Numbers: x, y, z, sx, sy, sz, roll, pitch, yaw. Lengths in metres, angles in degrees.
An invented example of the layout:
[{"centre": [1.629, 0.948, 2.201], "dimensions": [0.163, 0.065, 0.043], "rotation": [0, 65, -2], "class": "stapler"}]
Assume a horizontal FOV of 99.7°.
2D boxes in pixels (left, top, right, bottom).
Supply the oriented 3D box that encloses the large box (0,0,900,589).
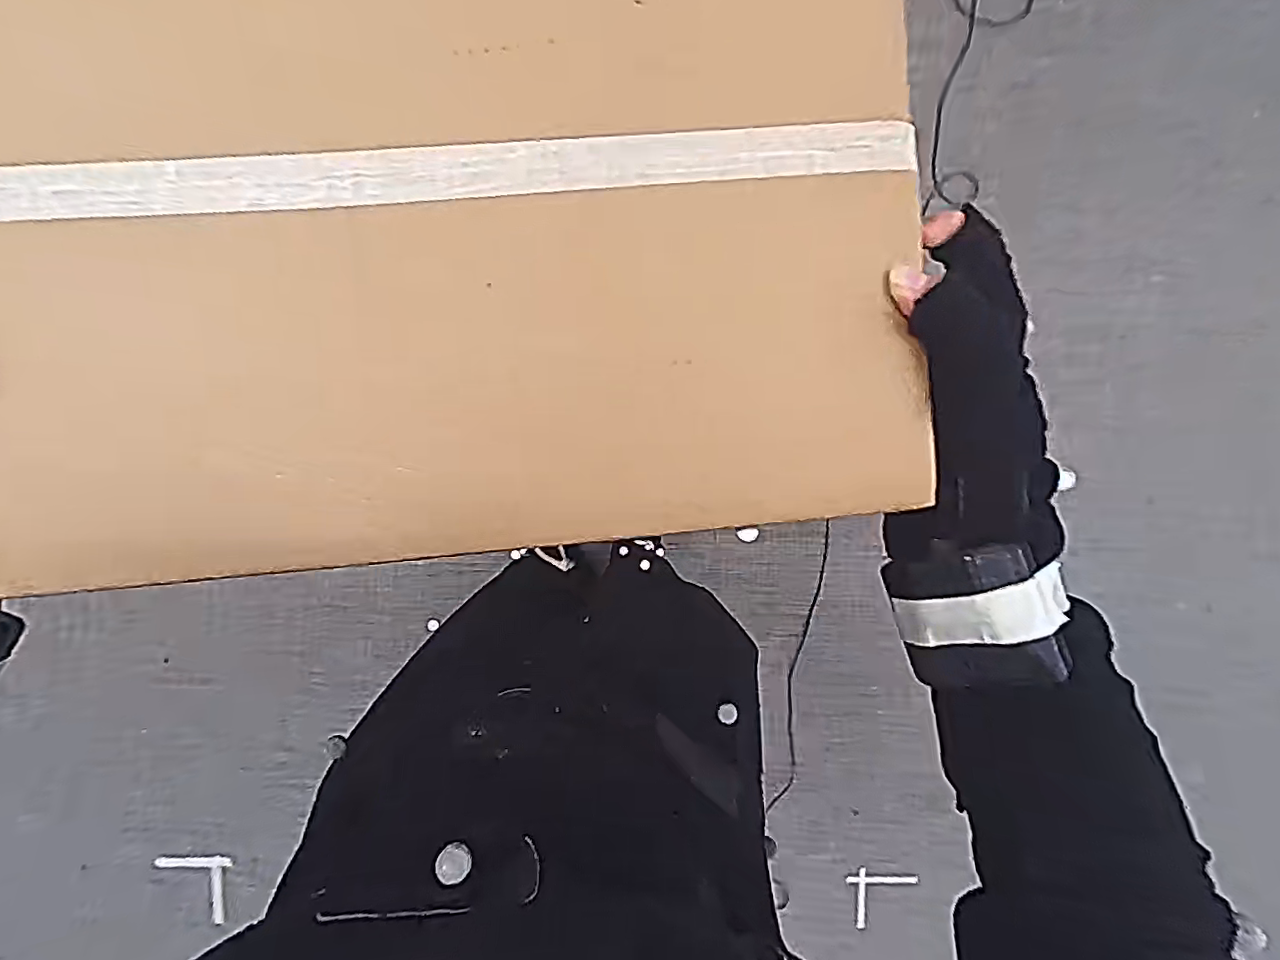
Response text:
[{"centre": [-0.094, -0.132, 0.384], "dimensions": [0.408, 0.320, 0.320], "rotation": [-5, 92, -4], "class": "large box"}]
